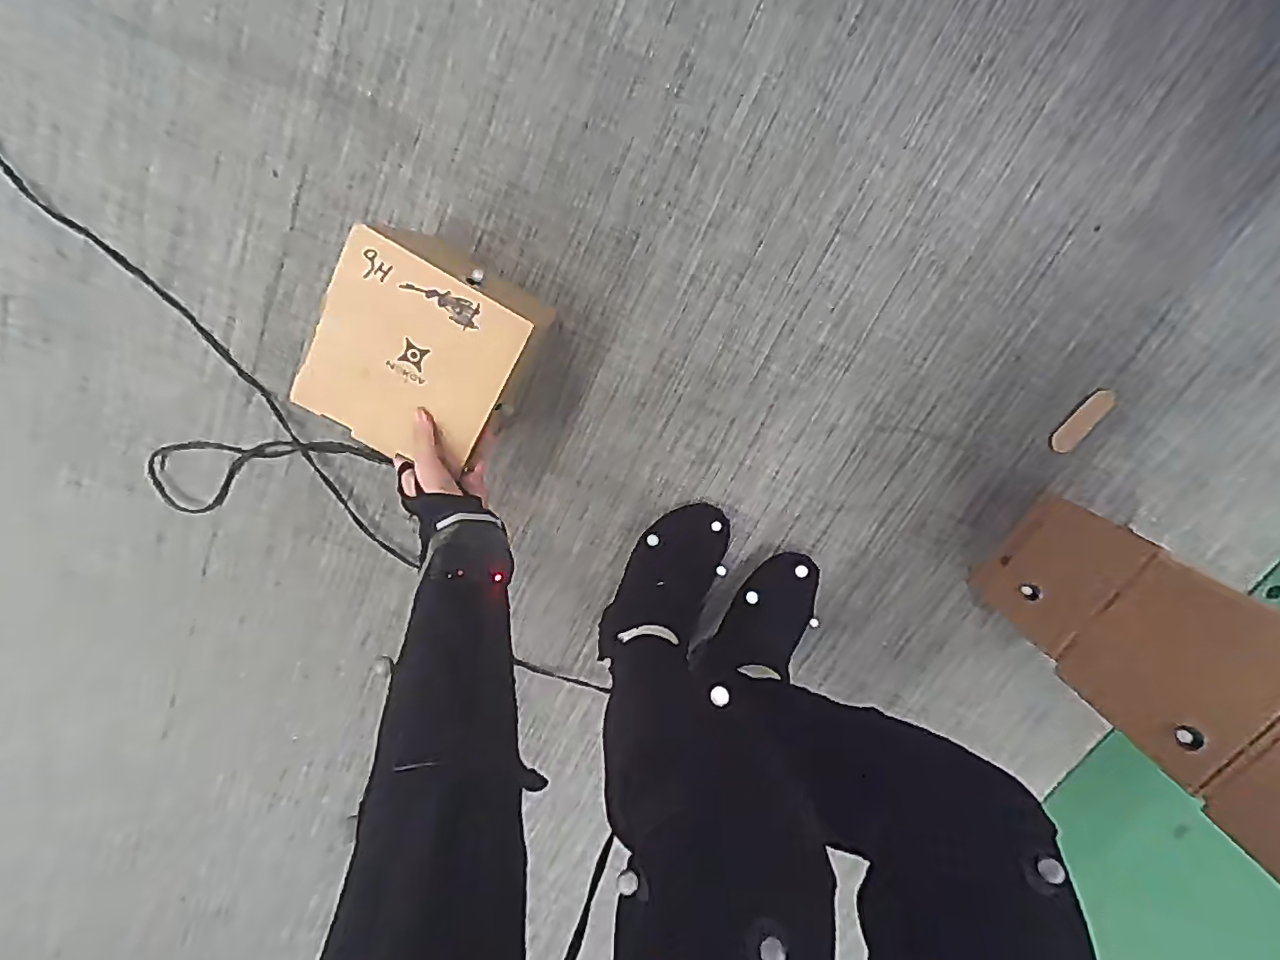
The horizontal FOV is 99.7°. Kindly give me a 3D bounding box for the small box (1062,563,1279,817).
[{"bbox_3d":[0.583,0.210,0.532,0.168,0.176,0.179,24,108,-10],"label":"small box"}]

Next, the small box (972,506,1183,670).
[{"bbox_3d":[0.575,0.152,0.683,0.179,0.176,0.168,27,107,-11],"label":"small box"}]

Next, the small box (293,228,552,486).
[{"bbox_3d":[-0.205,-0.128,0.557,0.168,0.176,0.179,29,108,-11],"label":"small box"}]

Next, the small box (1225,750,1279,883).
[{"bbox_3d":[0.596,0.280,0.383,0.168,0.176,0.179,25,108,-10],"label":"small box"}]
